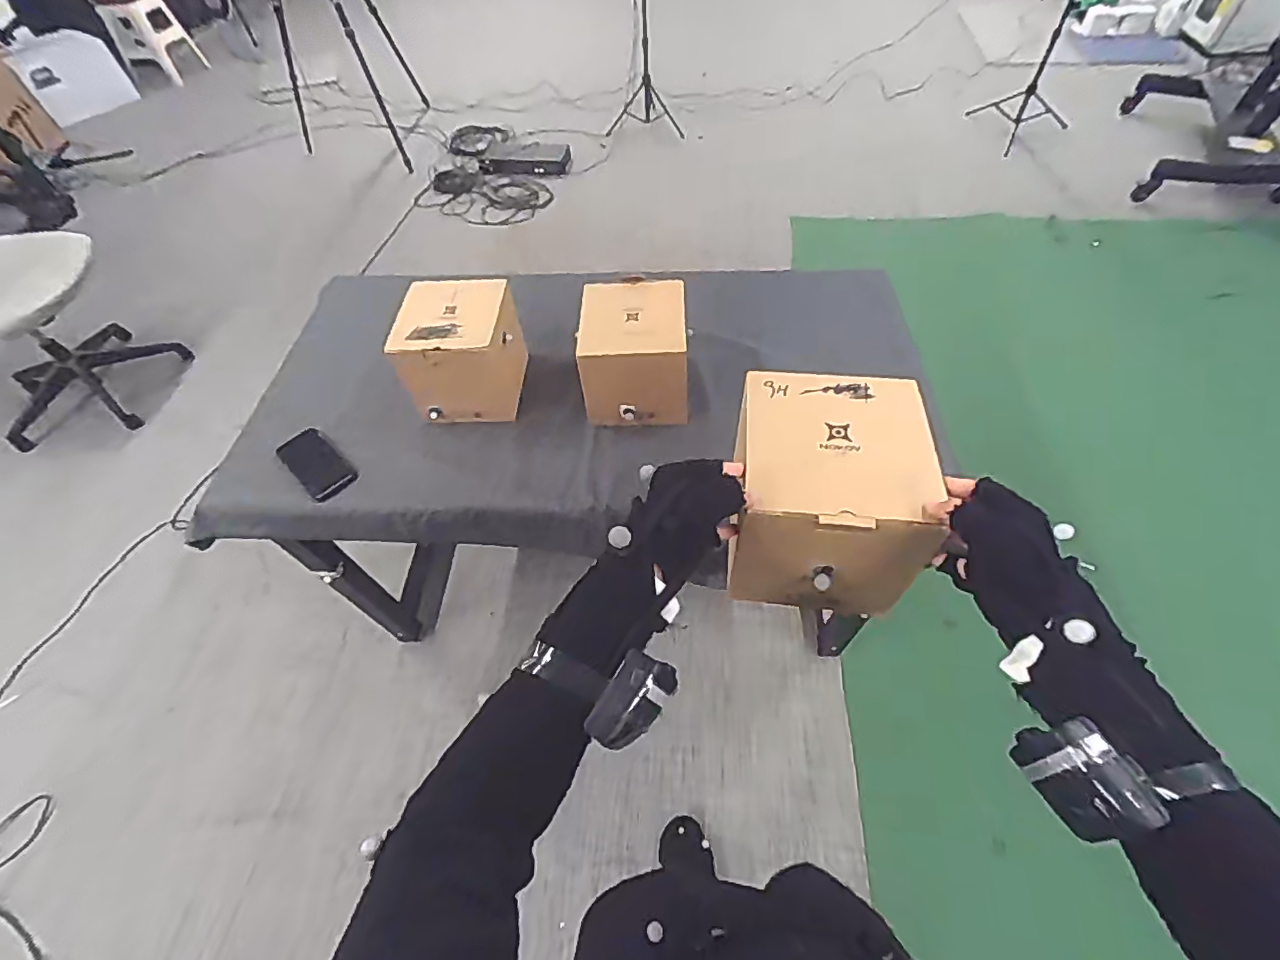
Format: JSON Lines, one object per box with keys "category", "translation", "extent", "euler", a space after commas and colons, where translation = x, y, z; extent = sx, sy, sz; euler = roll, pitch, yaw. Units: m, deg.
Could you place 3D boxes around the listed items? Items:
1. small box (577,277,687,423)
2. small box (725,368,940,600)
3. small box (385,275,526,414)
{"category": "small box", "translation": [-0.007, -0.215, 0.909], "extent": [0.168, 0.176, 0.179], "euler": [-2, 56, 3]}
{"category": "small box", "translation": [0.179, 0.008, 0.559], "extent": [0.168, 0.176, 0.179], "euler": [5, 54, 6]}
{"category": "small box", "translation": [-0.302, -0.226, 0.928], "extent": [0.168, 0.176, 0.179], "euler": [0, 54, 2]}
